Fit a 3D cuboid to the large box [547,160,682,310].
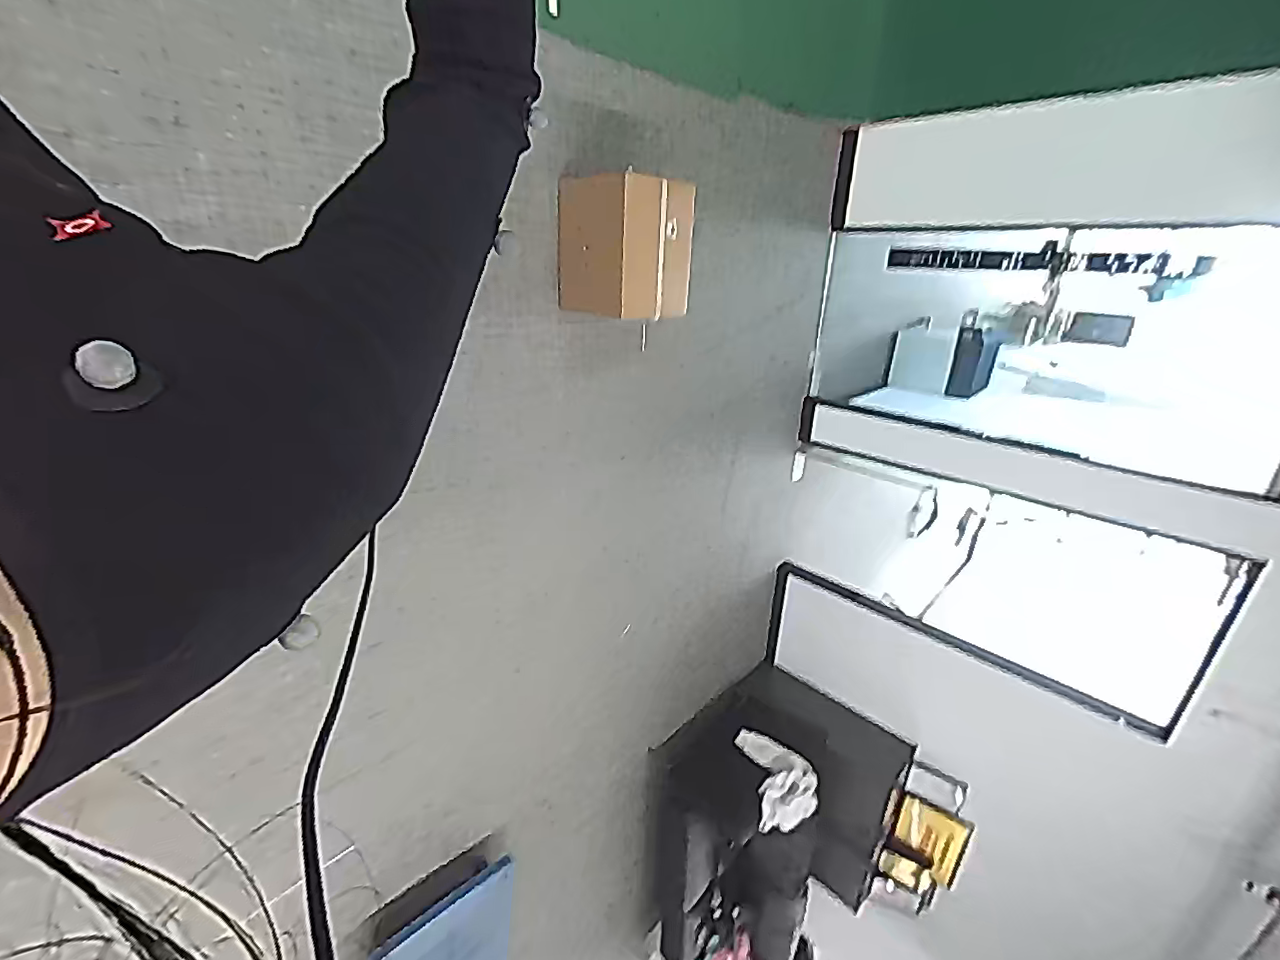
[{"bbox_3d":[-0.084,-0.780,1.763,0.320,0.320,0.408,-20,121,-43],"label":"large box"}]
